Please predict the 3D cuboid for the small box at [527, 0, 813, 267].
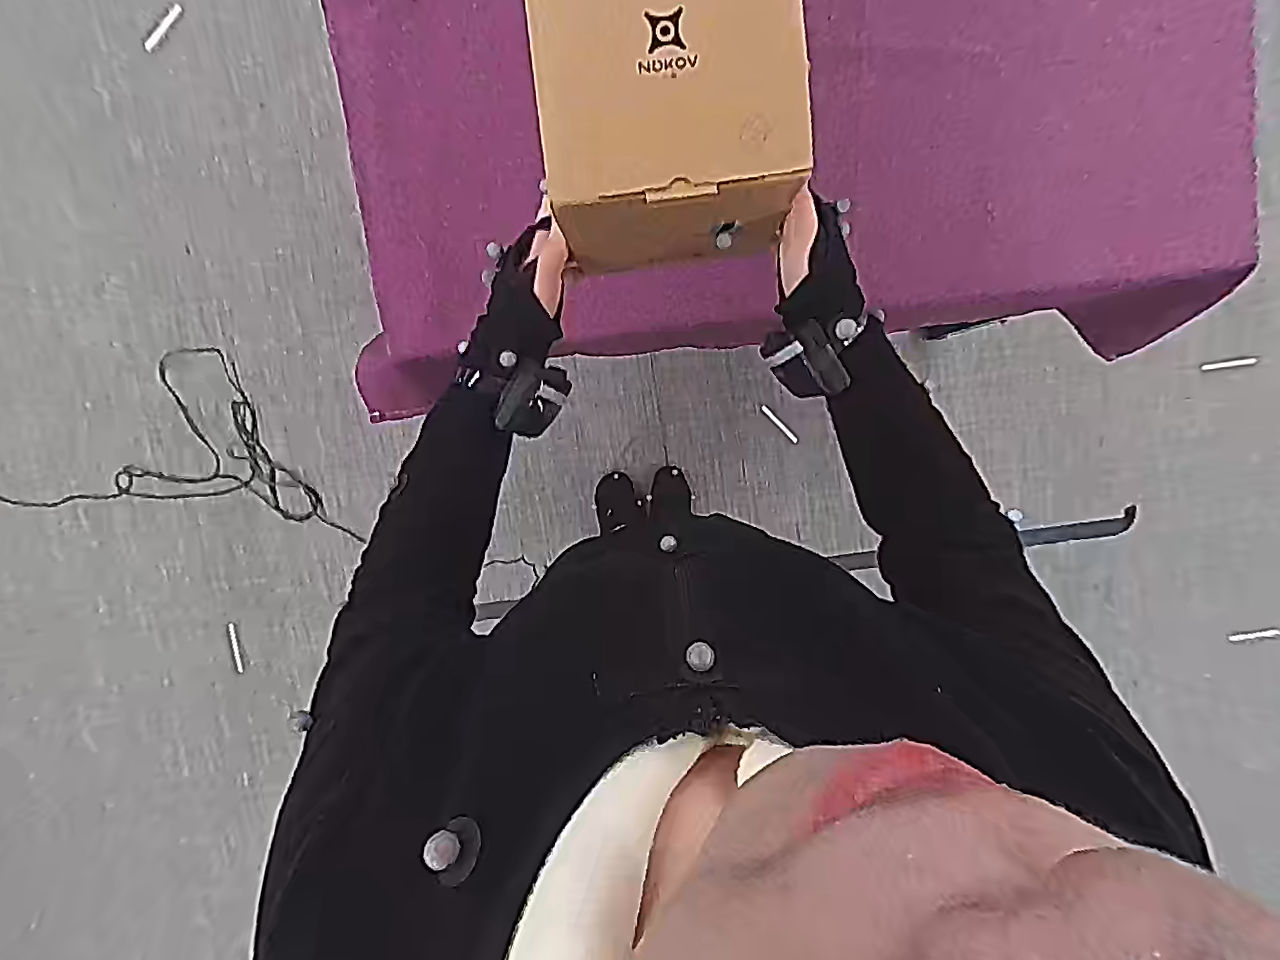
[{"bbox_3d":[0.020,-0.268,0.399,0.168,0.176,0.179,-6,96,2],"label":"small box"}]
